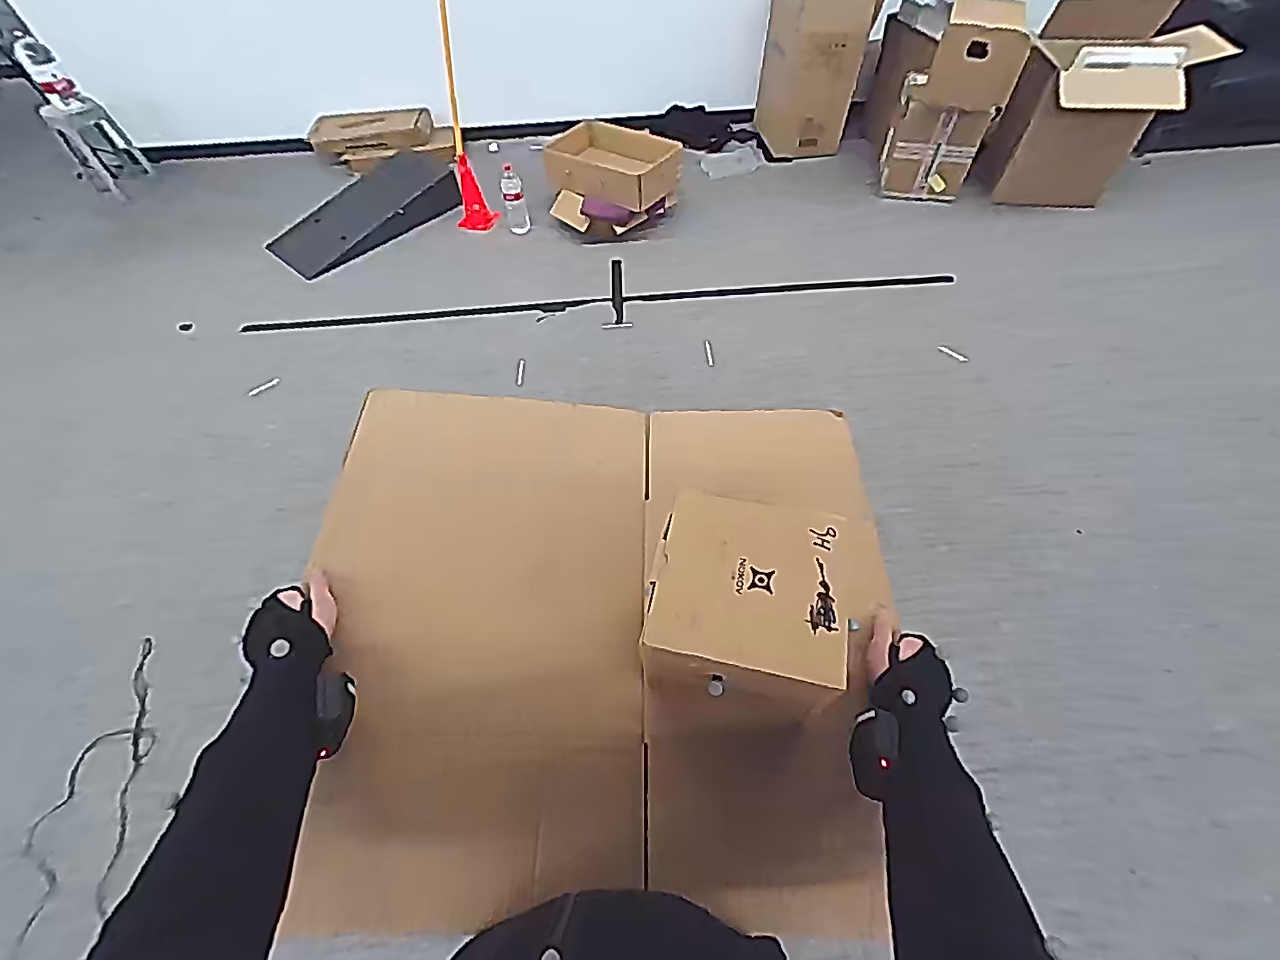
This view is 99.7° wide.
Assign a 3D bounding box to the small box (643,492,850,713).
[{"bbox_3d":[0.110,0.135,0.574,0.179,0.176,0.168,9,59,10],"label":"small box"}]
